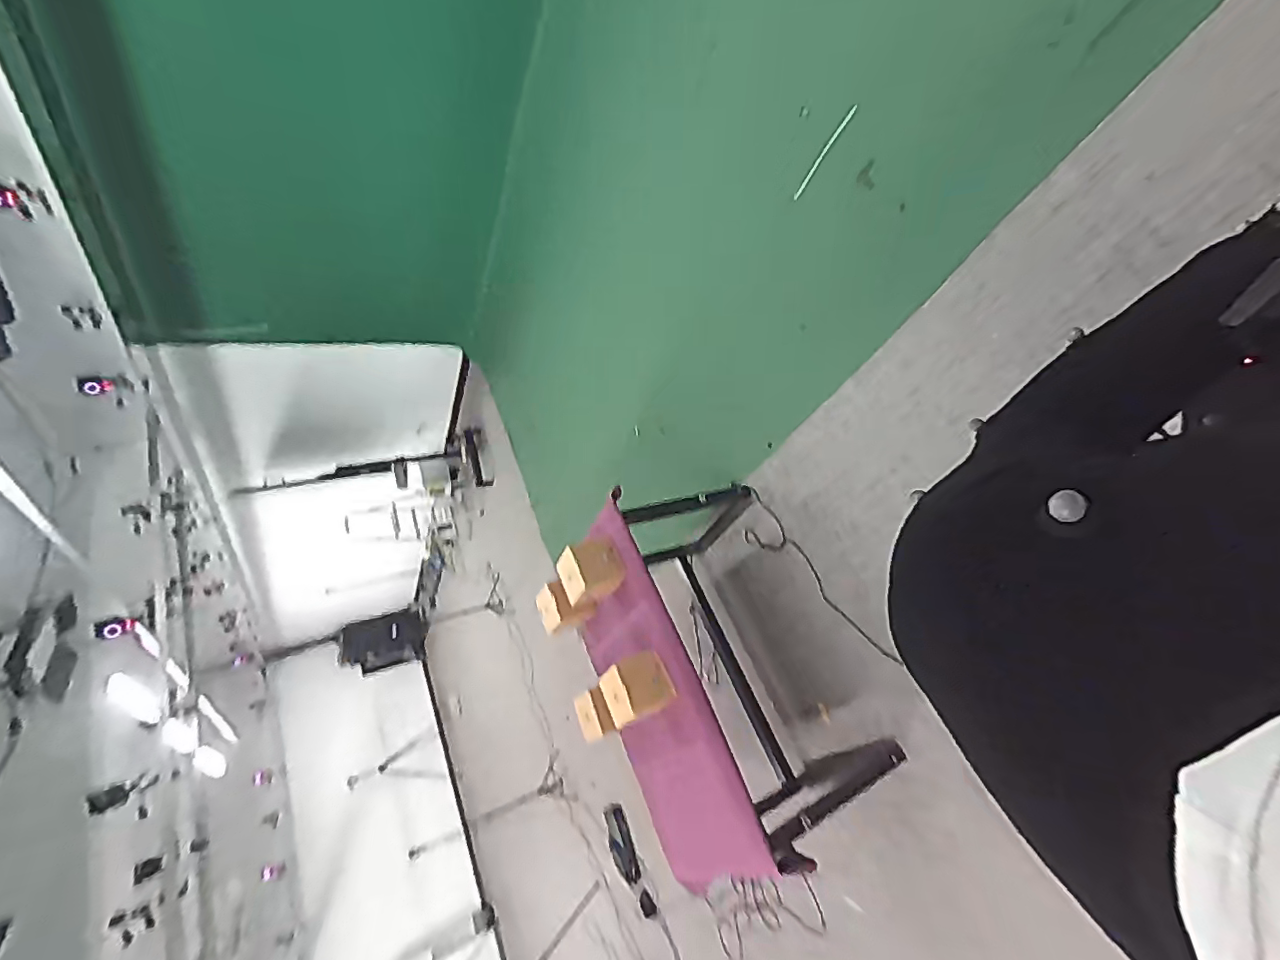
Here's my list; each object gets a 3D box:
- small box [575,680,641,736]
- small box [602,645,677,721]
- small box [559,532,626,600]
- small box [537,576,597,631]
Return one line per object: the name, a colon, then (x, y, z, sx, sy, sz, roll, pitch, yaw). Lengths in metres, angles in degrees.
small box: (-0.116, 0.836, 2.027, 0.179, 0.176, 0.168, -51, 56, 50)
small box: (-0.002, 0.675, 1.805, 0.168, 0.176, 0.179, 63, 144, 26)
small box: (-0.173, 0.311, 1.963, 0.168, 0.176, 0.179, 62, 144, 23)
small box: (-0.292, 0.487, 2.197, 0.179, 0.176, 0.168, -51, 56, 46)
